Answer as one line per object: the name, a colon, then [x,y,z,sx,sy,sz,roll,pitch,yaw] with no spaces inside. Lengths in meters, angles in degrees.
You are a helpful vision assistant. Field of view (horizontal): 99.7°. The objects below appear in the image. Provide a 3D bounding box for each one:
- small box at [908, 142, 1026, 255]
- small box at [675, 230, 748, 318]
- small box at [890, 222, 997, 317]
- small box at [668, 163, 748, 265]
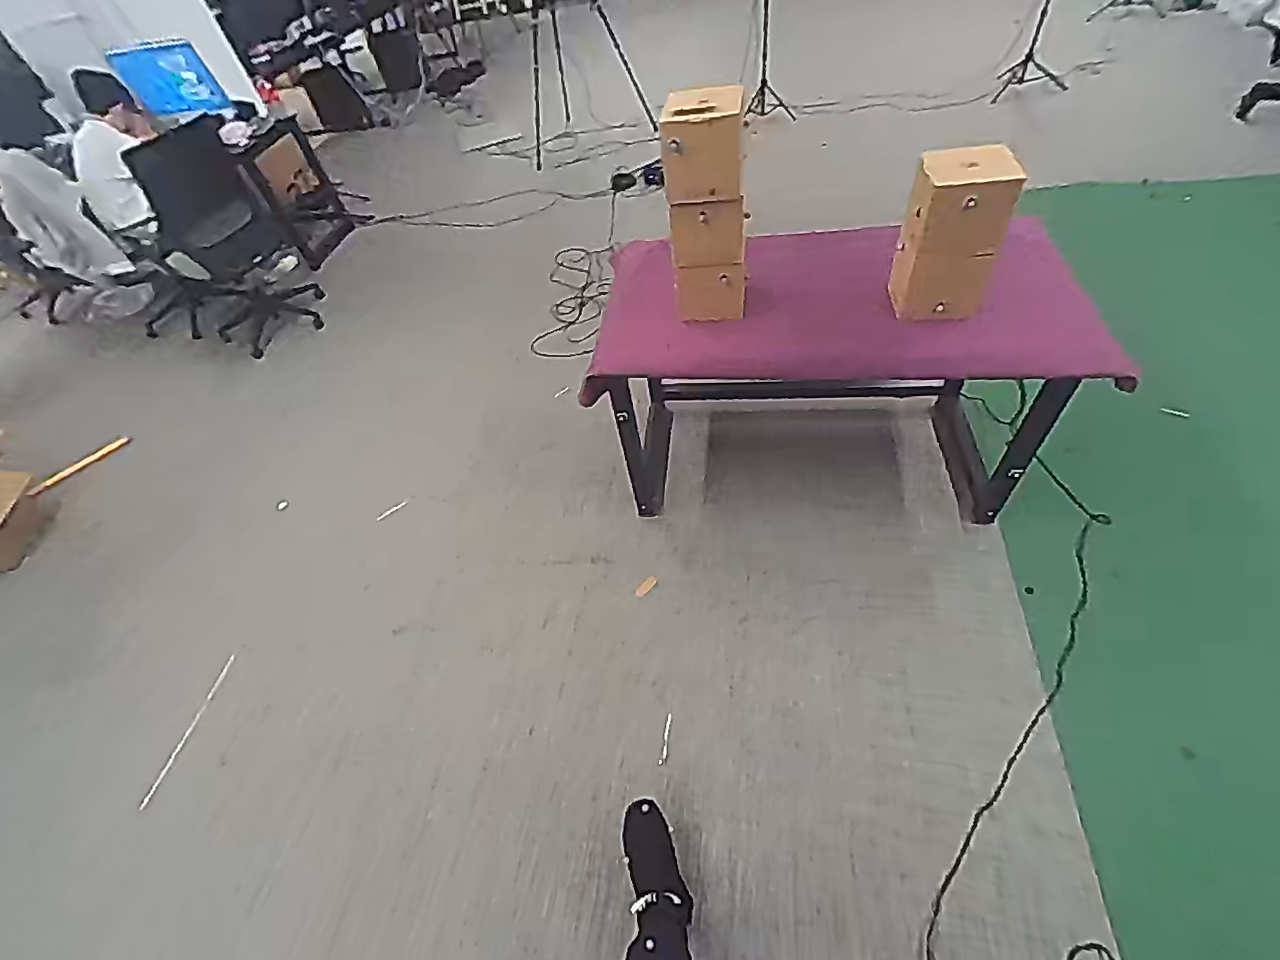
small box: [0.711,-0.620,1.203,0.179,0.176,0.168,1,53,12]
small box: [0.197,-0.555,1.462,0.179,0.176,0.168,2,52,12]
small box: [0.735,-0.518,1.329,0.179,0.176,0.168,1,52,11]
small box: [0.173,-0.652,1.335,0.179,0.176,0.168,1,53,12]
